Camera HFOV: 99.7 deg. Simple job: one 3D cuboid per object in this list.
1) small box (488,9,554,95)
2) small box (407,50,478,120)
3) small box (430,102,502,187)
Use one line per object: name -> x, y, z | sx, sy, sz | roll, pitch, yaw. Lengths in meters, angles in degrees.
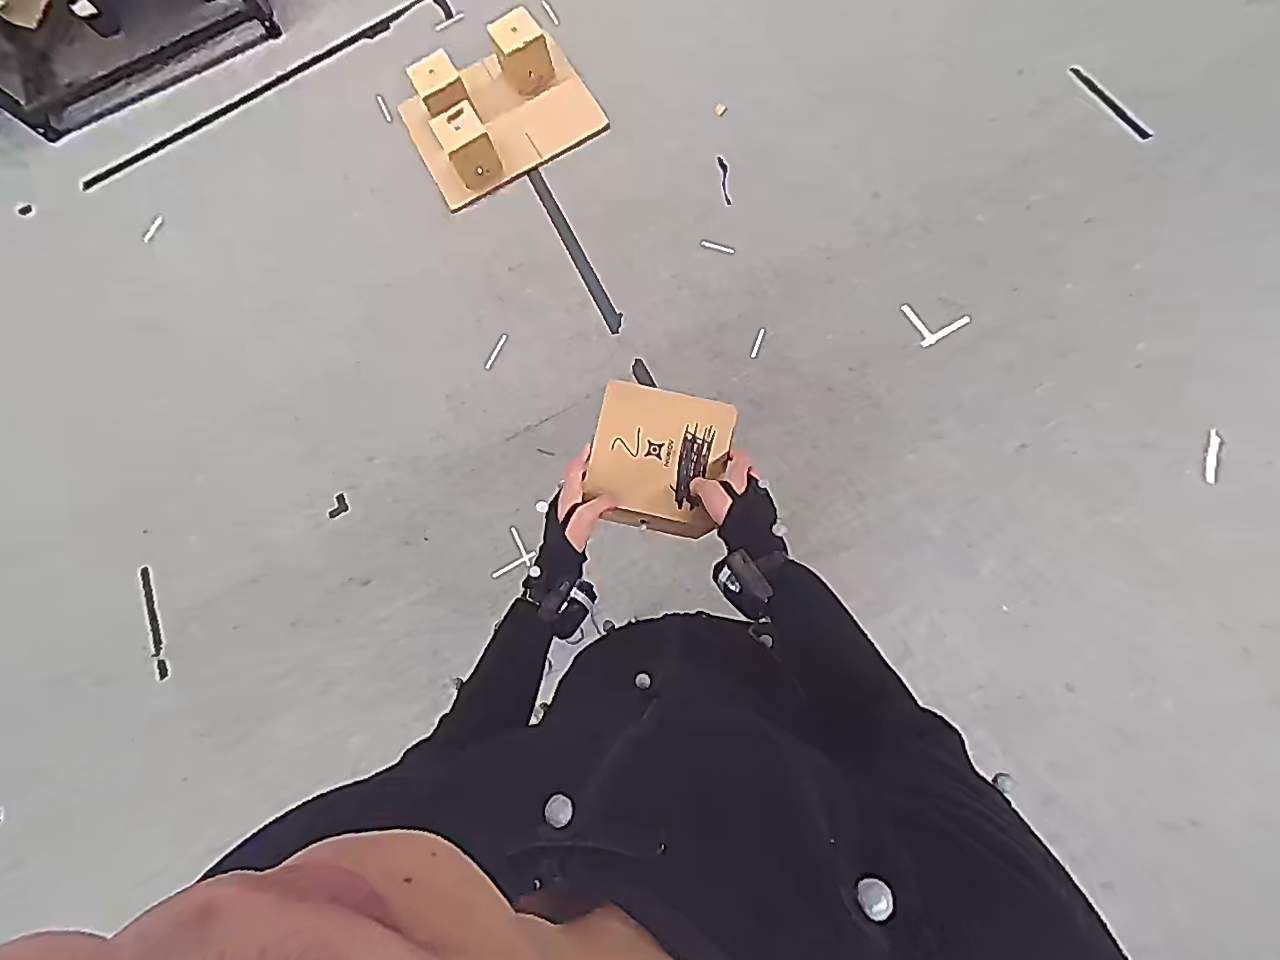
small box -> -0.458, -1.655, 2.099 | 0.168, 0.176, 0.179 | -33, 74, -1
small box -> -0.760, -1.493, 2.092 | 0.168, 0.176, 0.179 | -30, 75, 0
small box -> -0.643, -1.244, 2.016 | 0.168, 0.176, 0.179 | -30, 75, 0
